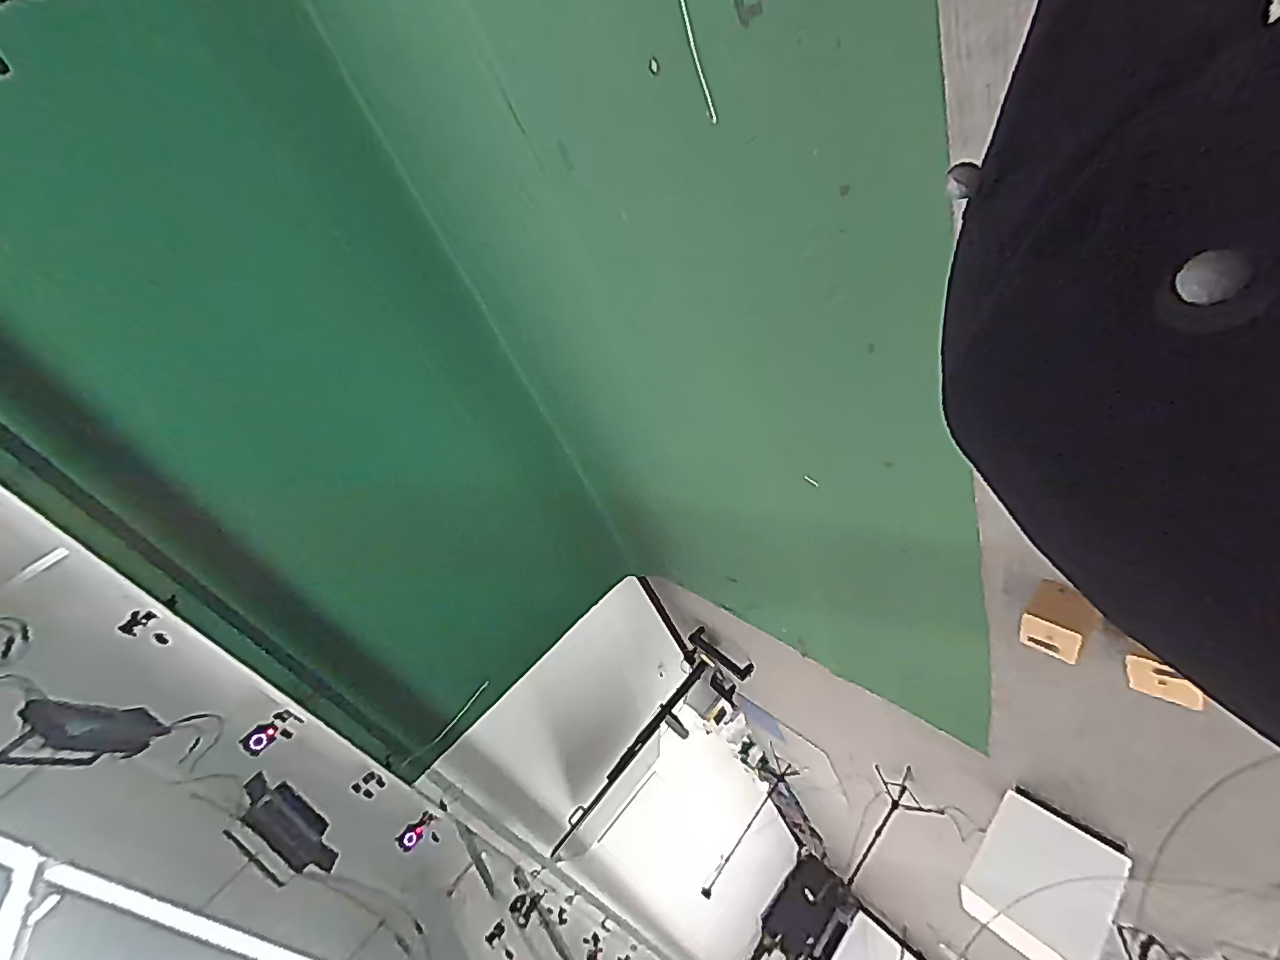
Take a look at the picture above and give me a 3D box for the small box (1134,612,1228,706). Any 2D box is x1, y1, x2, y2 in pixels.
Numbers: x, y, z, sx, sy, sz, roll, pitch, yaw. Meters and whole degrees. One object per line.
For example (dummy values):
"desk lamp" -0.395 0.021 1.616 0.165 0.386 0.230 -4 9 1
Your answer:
"small box" 1.609 0.523 1.608 0.168 0.176 0.179 12 139 56
